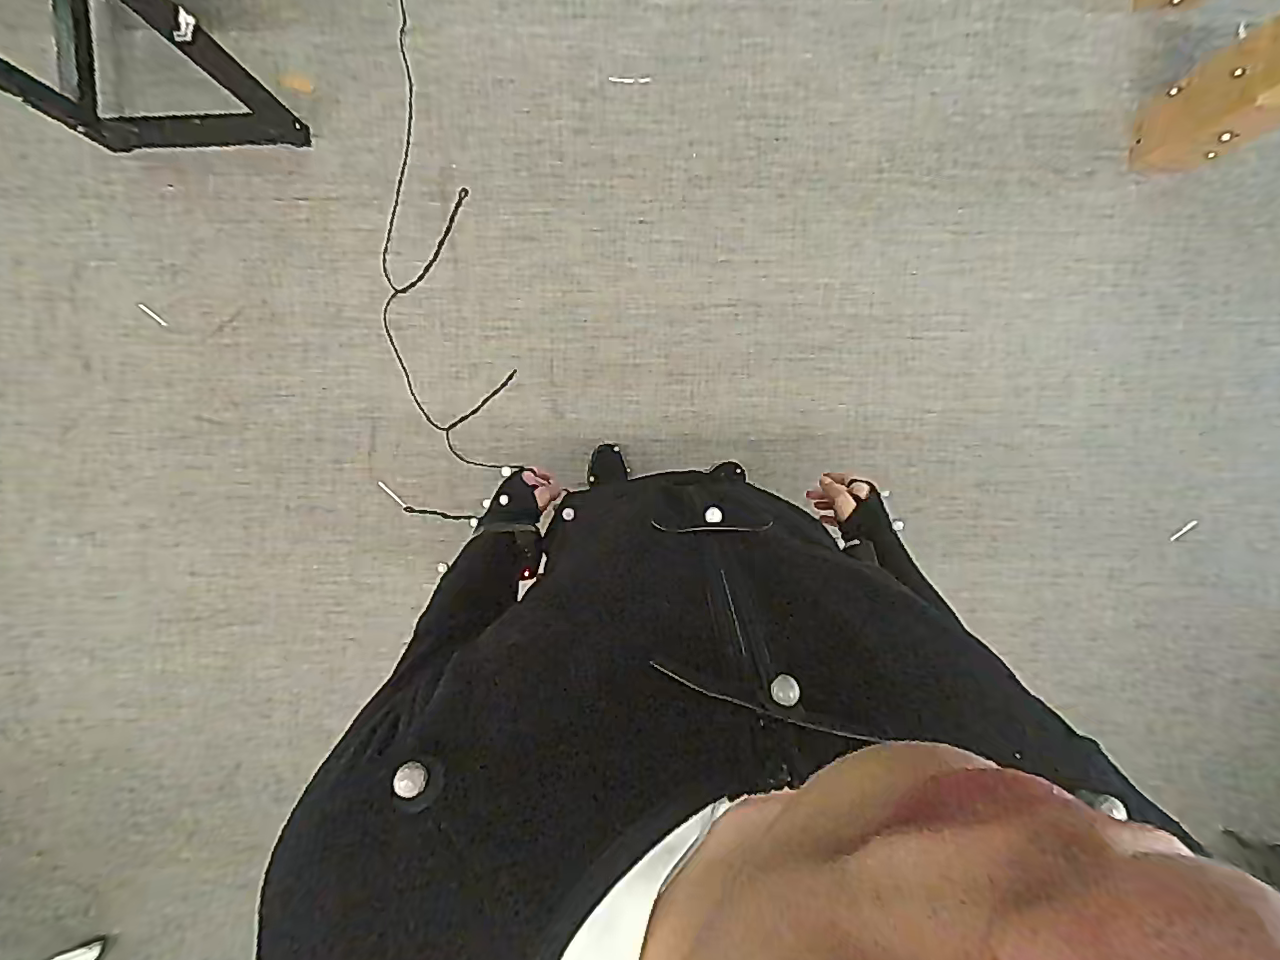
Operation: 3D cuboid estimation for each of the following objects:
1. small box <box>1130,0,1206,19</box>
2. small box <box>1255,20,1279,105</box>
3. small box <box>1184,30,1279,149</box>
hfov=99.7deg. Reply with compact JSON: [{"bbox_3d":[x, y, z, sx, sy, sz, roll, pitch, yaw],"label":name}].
[{"bbox_3d":[1.487,-1.410,1.470,0.168,0.176,0.179,-1,94,0],"label":"small box"},{"bbox_3d":[1.509,-0.942,1.170,0.168,0.176,0.179,6,93,0],"label":"small box"},{"bbox_3d":[1.506,-0.954,1.332,0.168,0.176,0.179,1,94,0],"label":"small box"}]
